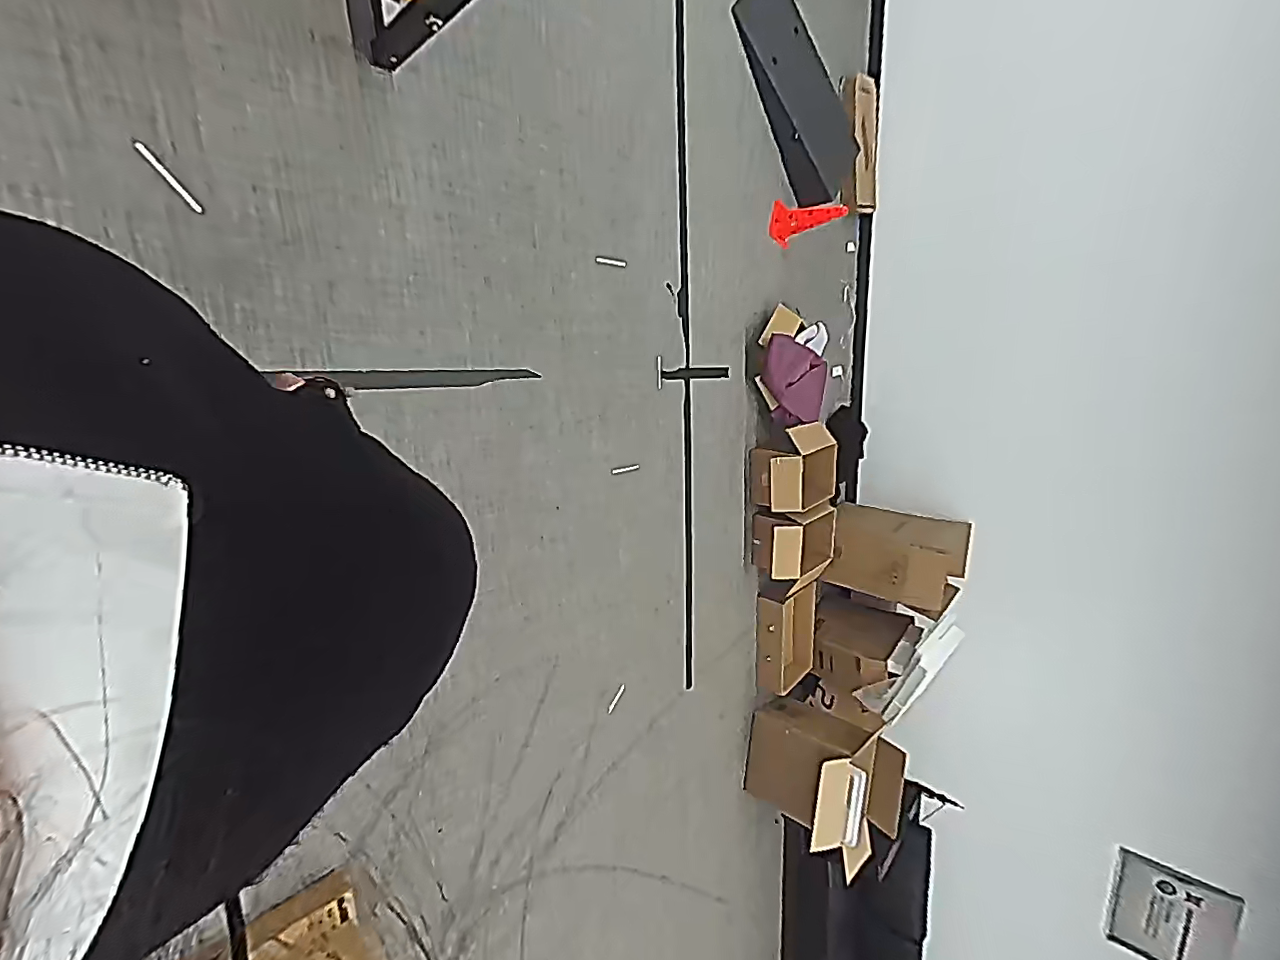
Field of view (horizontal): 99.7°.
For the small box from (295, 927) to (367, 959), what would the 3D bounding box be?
[{"bbox_3d":[-0.790,1.315,1.381,0.168,0.176,0.179,-15,108,-45],"label":"small box"}]
